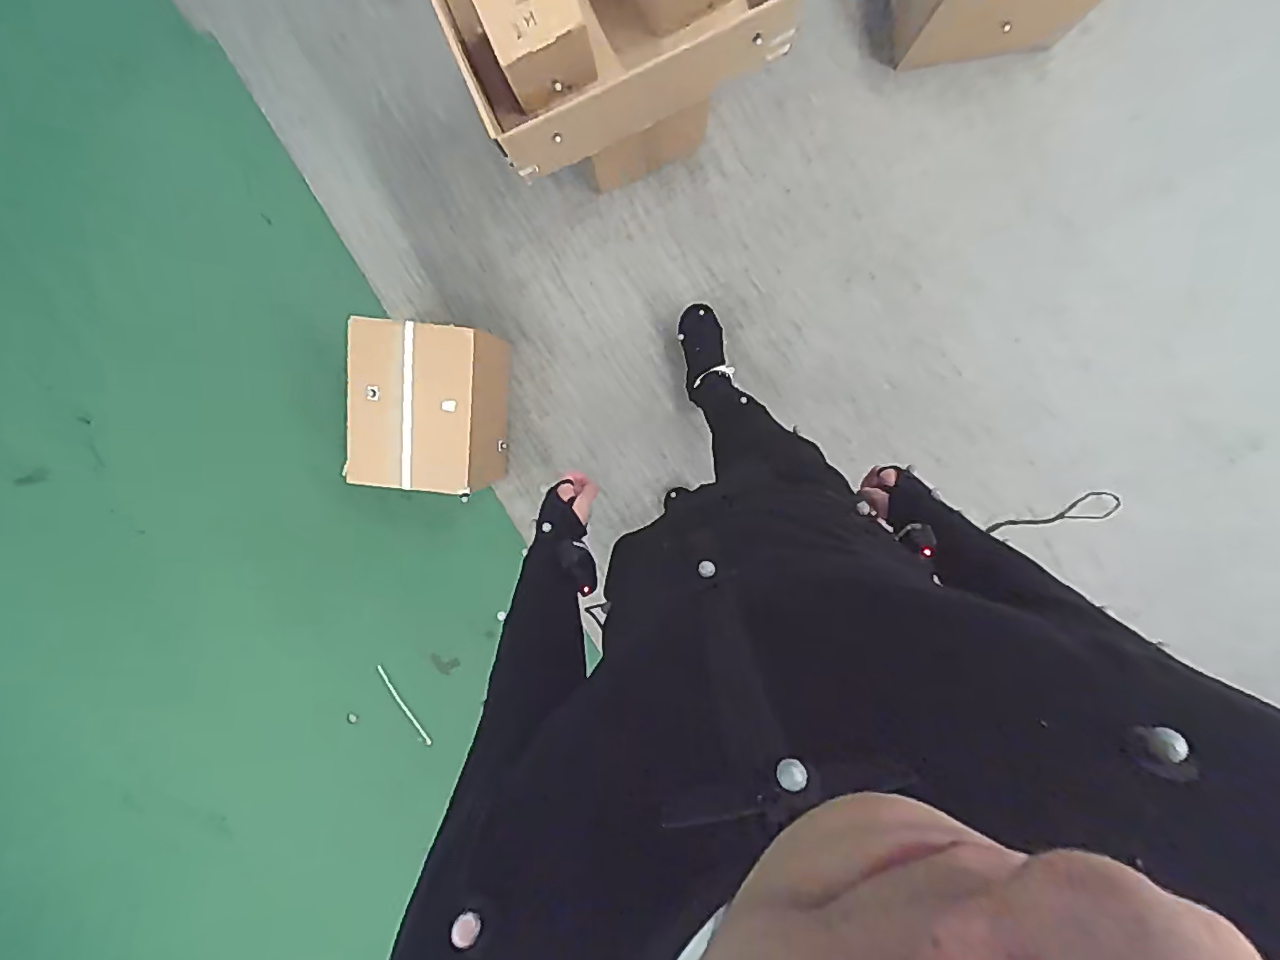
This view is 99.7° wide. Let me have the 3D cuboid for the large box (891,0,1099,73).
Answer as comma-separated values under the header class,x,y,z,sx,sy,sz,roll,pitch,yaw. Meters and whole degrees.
class,x,y,z,sx,sy,sz,roll,pitch,yaw
large box,0.840,-1.218,1.241,0.408,0.320,0.320,-7,98,5
